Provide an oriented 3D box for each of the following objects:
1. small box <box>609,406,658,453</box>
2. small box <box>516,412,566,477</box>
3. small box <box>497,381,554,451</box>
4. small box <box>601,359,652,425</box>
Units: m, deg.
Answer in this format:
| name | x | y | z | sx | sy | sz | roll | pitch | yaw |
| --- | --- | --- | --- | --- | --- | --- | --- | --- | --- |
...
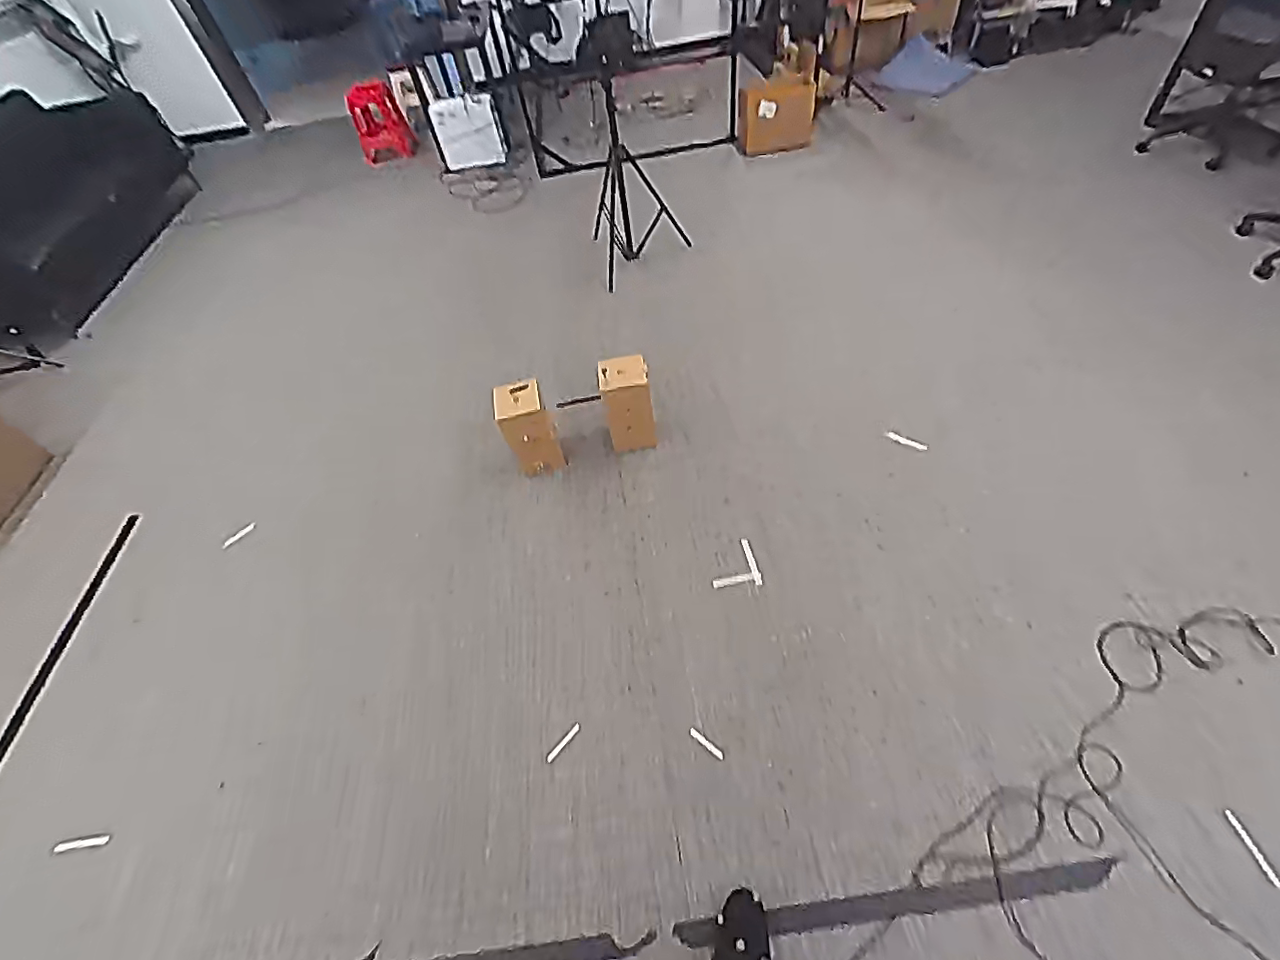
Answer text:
| name | x | y | z | sx | sy | sz | roll | pitch | yaw |
| --- | --- | --- | --- | --- | --- | --- | --- | --- | --- |
| small box | -0.028 | -0.225 | 2.156 | 0.179 | 0.176 | 0.168 | -9 | 51 | 1 |
| small box | -0.399 | -0.139 | 2.145 | 0.168 | 0.176 | 0.179 | -15 | 51 | -3 |
| small box | -0.426 | -0.235 | 2.015 | 0.168 | 0.176 | 0.179 | -14 | 51 | -1 |
| small box | -0.048 | -0.328 | 2.029 | 0.179 | 0.176 | 0.168 | -8 | 50 | 1 |
